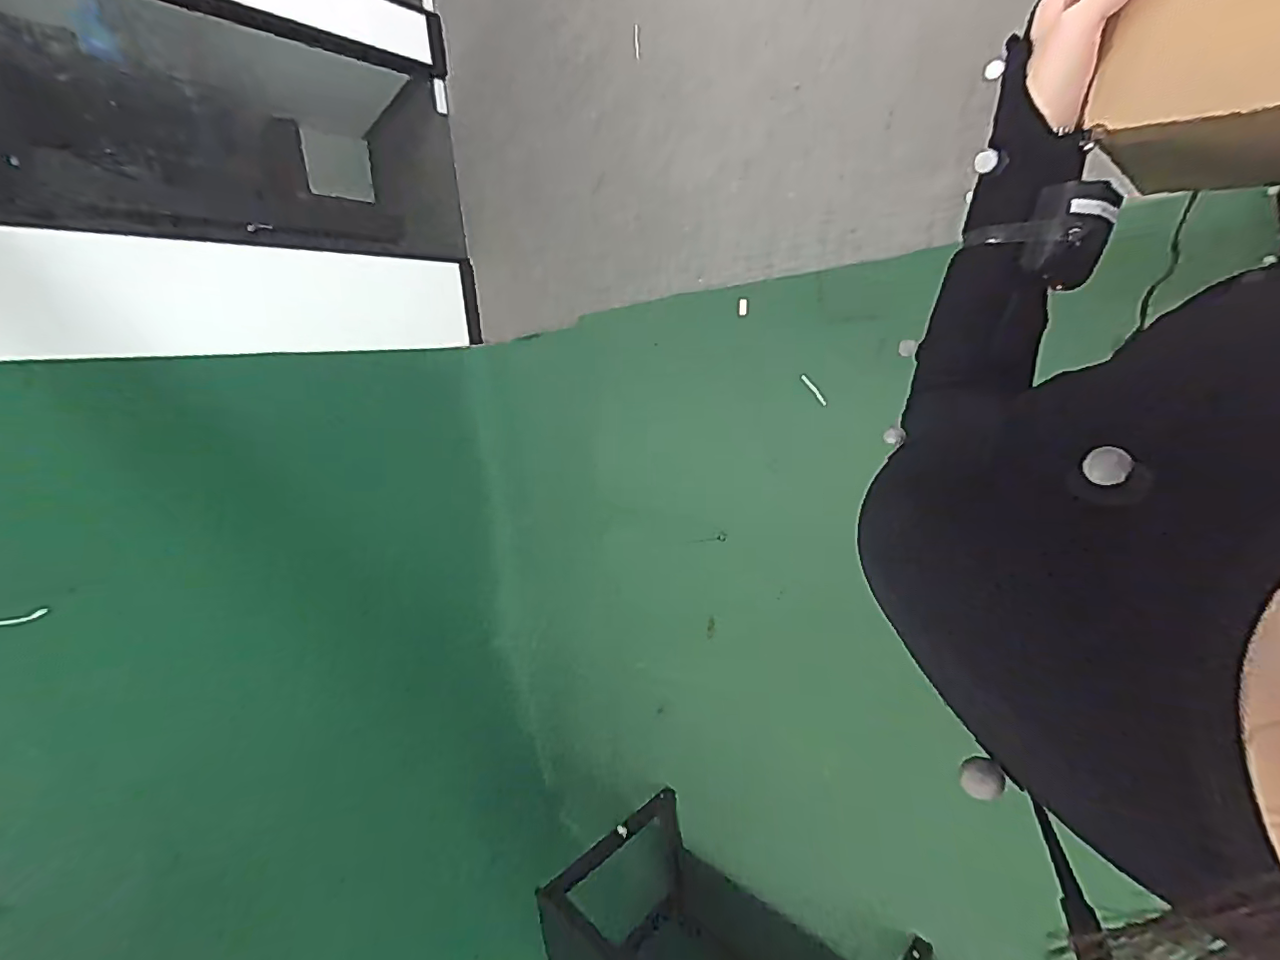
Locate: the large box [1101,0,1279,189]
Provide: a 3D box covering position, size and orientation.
[{"bbox_3d":[0.563,-0.376,0.294,0.408,0.320,0.320,20,116,42],"label":"large box"}]
